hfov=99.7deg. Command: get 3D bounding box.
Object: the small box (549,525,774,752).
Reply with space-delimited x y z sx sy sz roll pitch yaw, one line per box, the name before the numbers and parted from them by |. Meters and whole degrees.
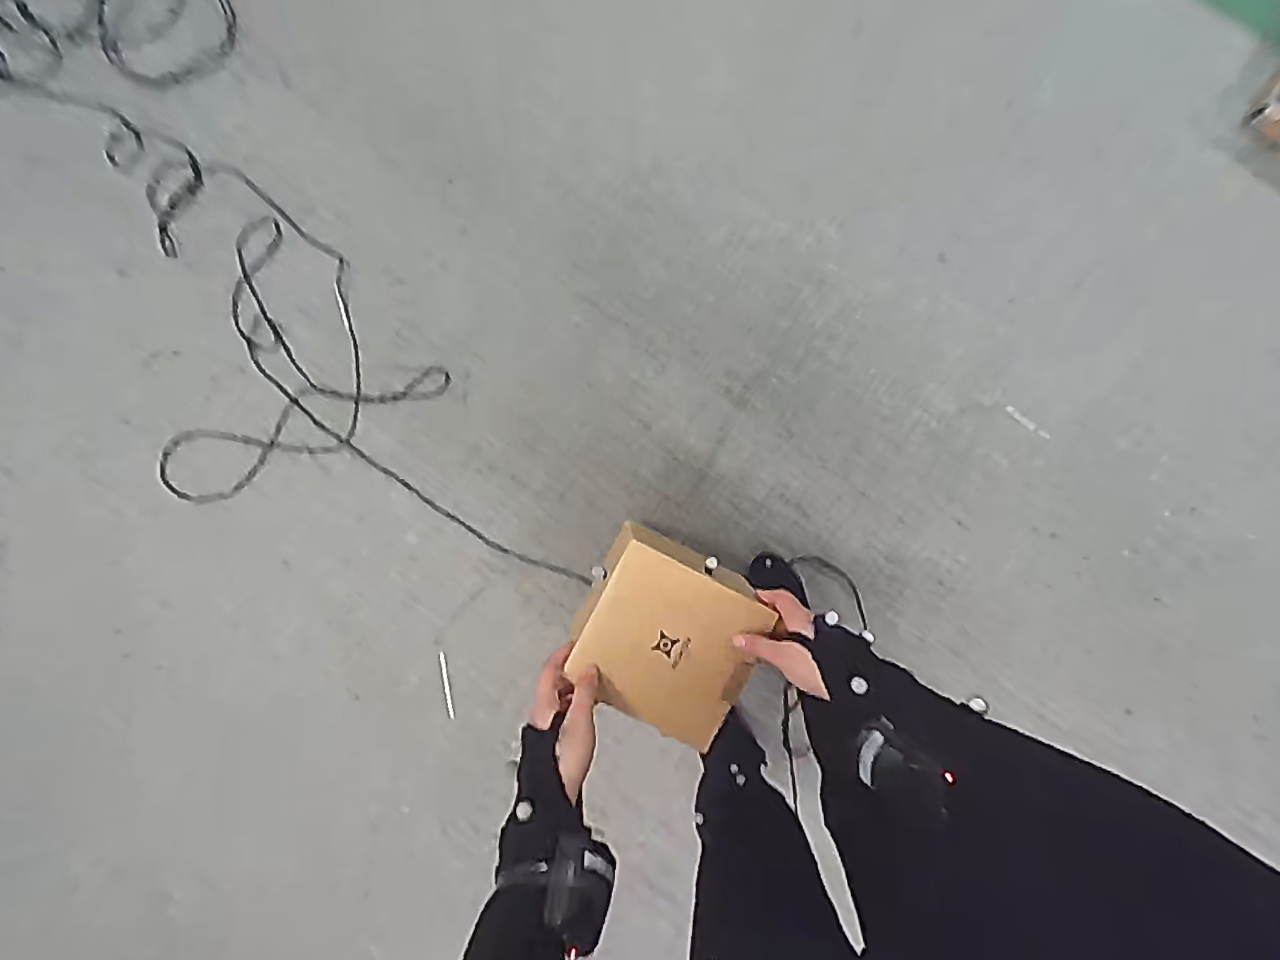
small box | 0.017 0.162 0.618 0.179 0.176 0.168 27 91 -5
